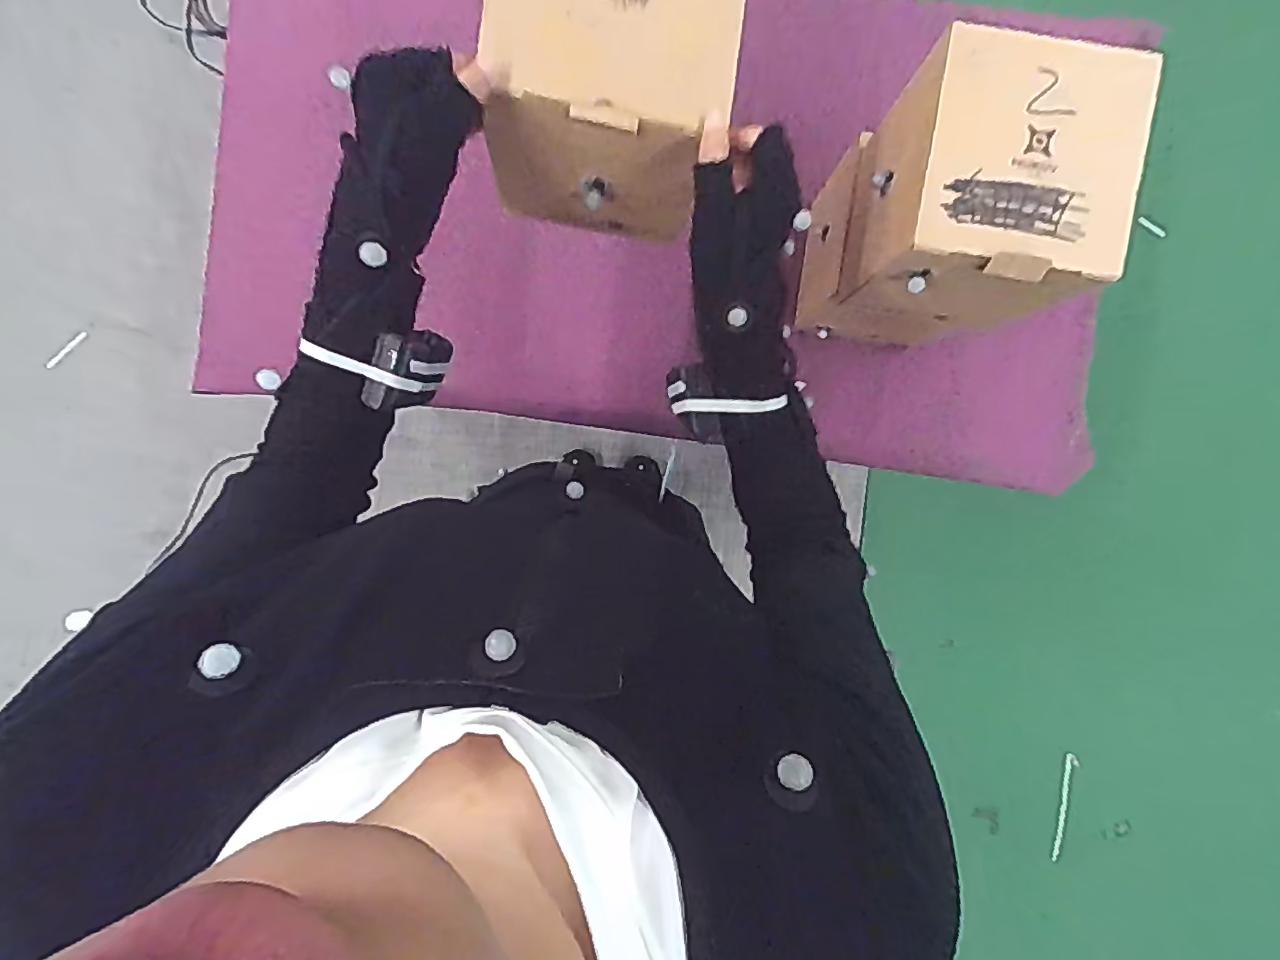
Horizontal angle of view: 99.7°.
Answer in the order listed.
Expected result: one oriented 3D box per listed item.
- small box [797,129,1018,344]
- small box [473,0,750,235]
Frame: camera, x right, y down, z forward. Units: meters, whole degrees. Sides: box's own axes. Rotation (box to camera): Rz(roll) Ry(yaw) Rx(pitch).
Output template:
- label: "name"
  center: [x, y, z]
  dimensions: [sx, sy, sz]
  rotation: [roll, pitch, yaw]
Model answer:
- label: "small box"
  center: [0.304, -0.275, 0.657]
  dimensions: [0.168, 0.176, 0.179]
  rotation: [11, 93, -3]
- label: "small box"
  center: [-0.020, -0.315, 0.414]
  dimensions: [0.168, 0.176, 0.179]
  rotation: [8, 91, -8]
